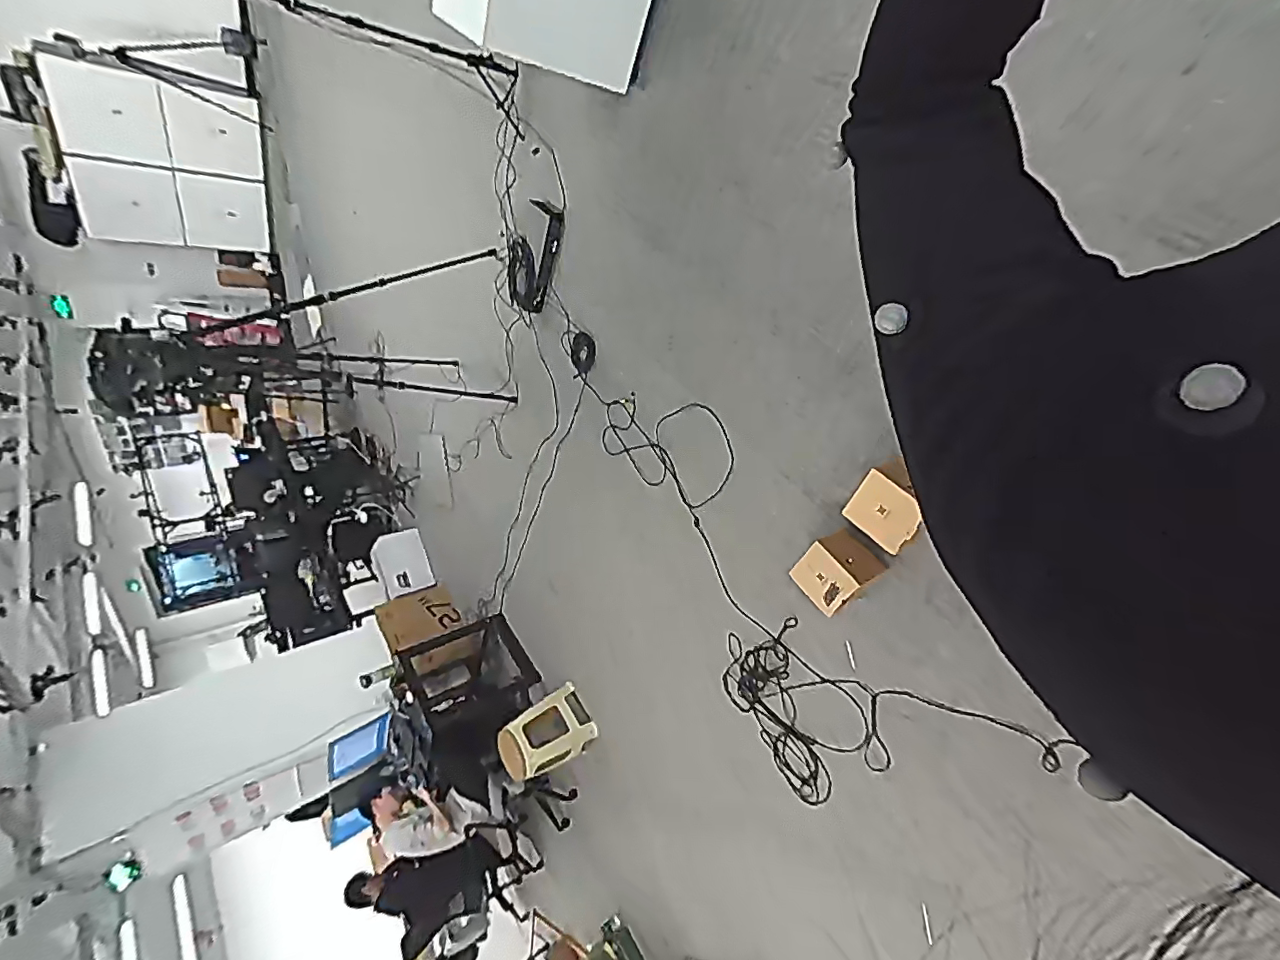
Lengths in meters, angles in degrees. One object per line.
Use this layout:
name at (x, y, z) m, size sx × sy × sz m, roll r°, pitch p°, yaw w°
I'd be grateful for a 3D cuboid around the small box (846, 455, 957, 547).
small box at (0.701, 0.048, 1.452) m, size 0.179 × 0.176 × 0.168 m, roll 45°, pitch 132°, yaw 31°

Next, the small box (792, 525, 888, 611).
small box at (0.605, 0.258, 1.628) m, size 0.179 × 0.176 × 0.168 m, roll 51°, pitch 135°, yaw 28°
